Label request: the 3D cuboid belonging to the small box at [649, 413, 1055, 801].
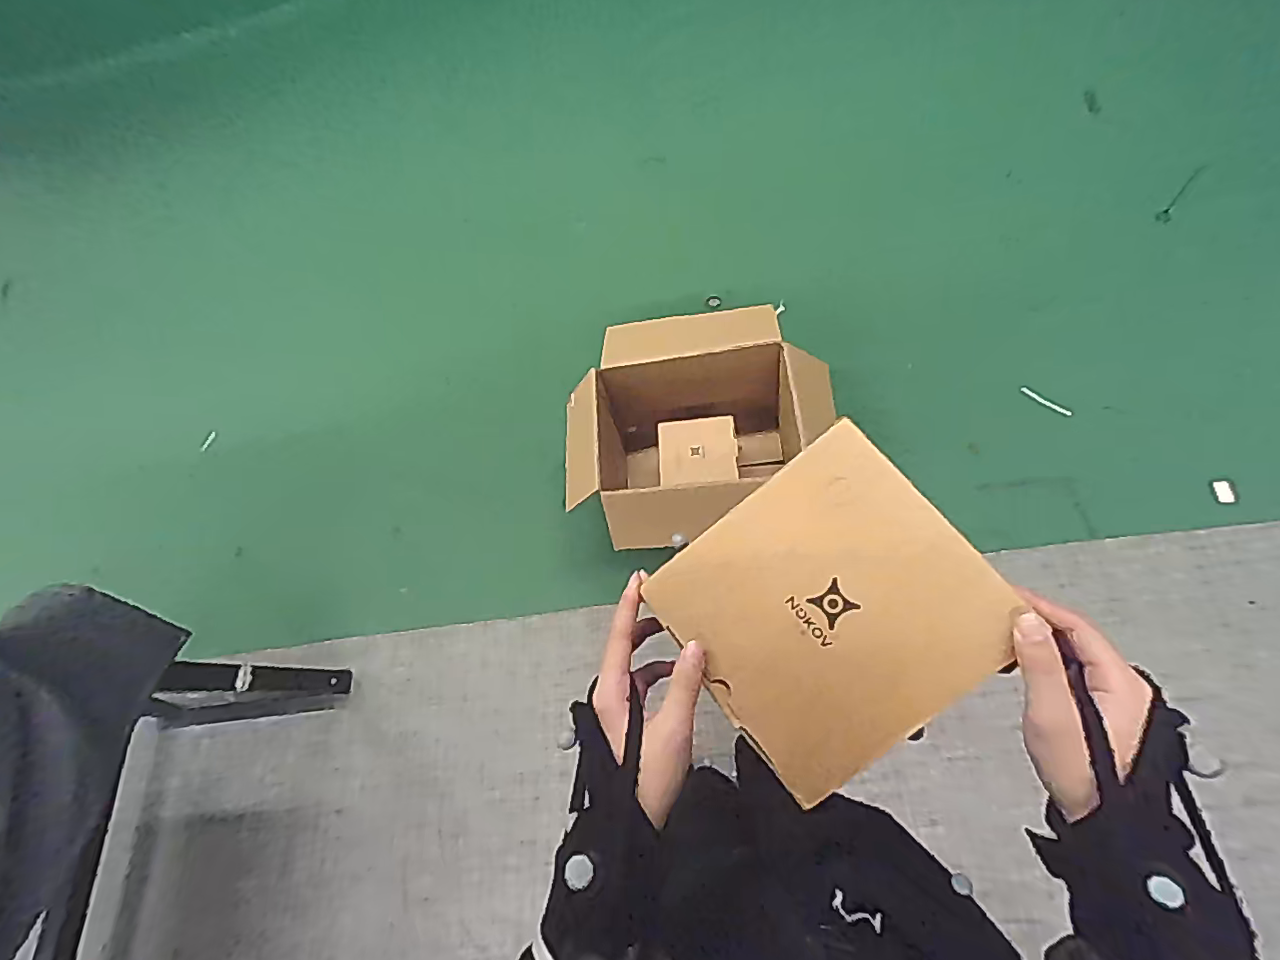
[{"bbox_3d":[0.134,0.080,0.401,0.179,0.176,0.168,-40,77,6],"label":"small box"}]
